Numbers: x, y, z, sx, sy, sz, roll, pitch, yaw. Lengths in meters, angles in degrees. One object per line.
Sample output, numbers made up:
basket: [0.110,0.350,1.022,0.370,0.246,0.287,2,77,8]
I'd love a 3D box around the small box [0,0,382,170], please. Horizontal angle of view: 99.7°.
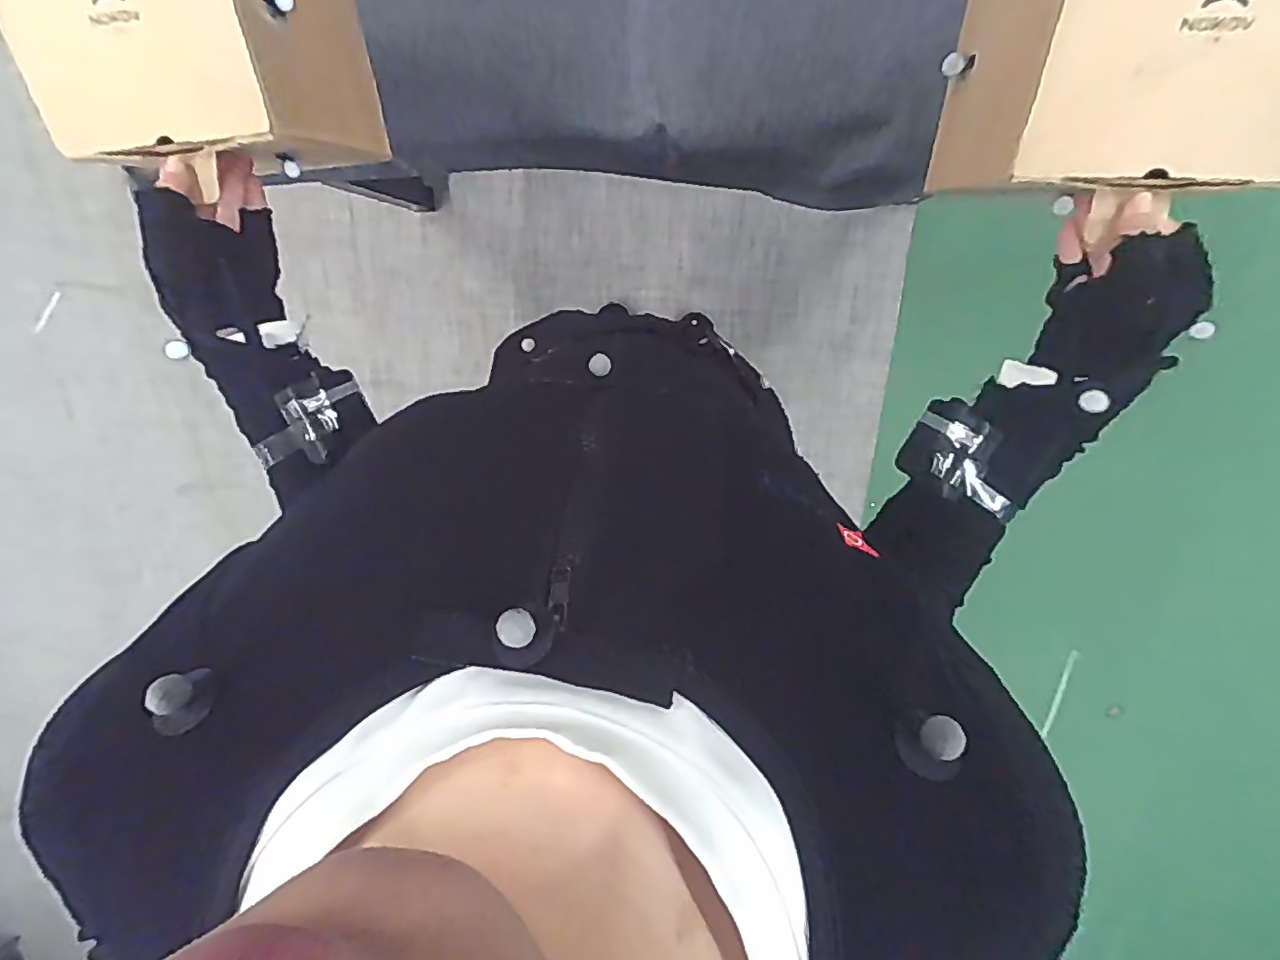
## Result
small box: [-0.325,-0.340,0.405,0.168,0.176,0.179,-3,115,6]

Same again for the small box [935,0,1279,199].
small box: [0.325,-0.291,0.363,0.168,0.176,0.179,5,117,6]
